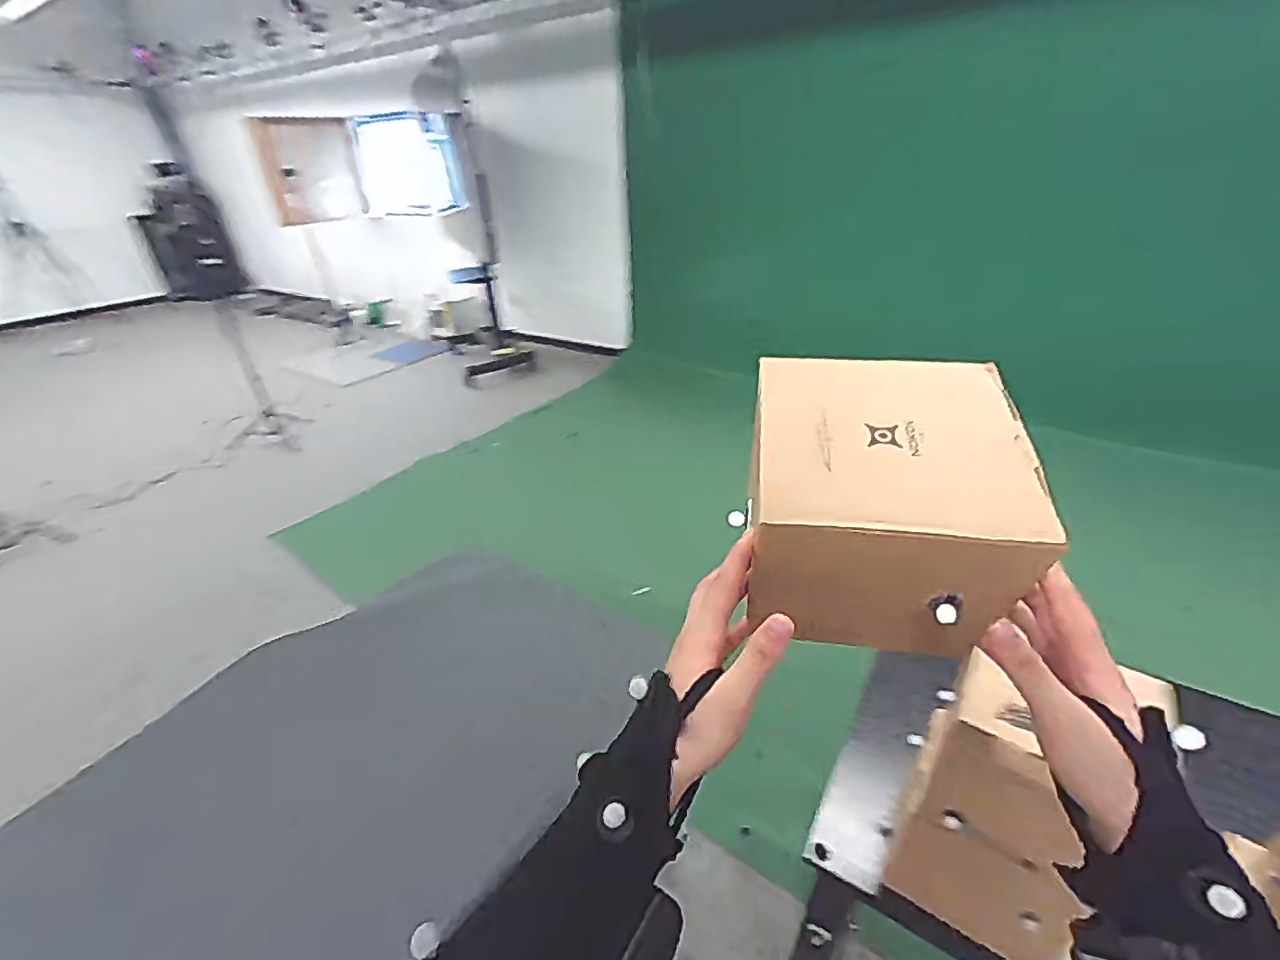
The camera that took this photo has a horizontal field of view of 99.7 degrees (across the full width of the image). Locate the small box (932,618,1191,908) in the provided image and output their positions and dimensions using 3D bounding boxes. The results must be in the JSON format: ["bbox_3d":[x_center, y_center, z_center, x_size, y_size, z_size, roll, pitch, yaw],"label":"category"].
[{"bbox_3d":[0.429,0.289,0.570,0.168,0.176,0.179,21,37,32],"label":"small box"}]

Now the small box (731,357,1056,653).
[{"bbox_3d":[0.165,0.023,0.424,0.179,0.176,0.168,2,50,9],"label":"small box"}]

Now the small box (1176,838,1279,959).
[{"bbox_3d":[0.652,0.504,0.510,0.168,0.176,0.179,21,38,33],"label":"small box"}]
